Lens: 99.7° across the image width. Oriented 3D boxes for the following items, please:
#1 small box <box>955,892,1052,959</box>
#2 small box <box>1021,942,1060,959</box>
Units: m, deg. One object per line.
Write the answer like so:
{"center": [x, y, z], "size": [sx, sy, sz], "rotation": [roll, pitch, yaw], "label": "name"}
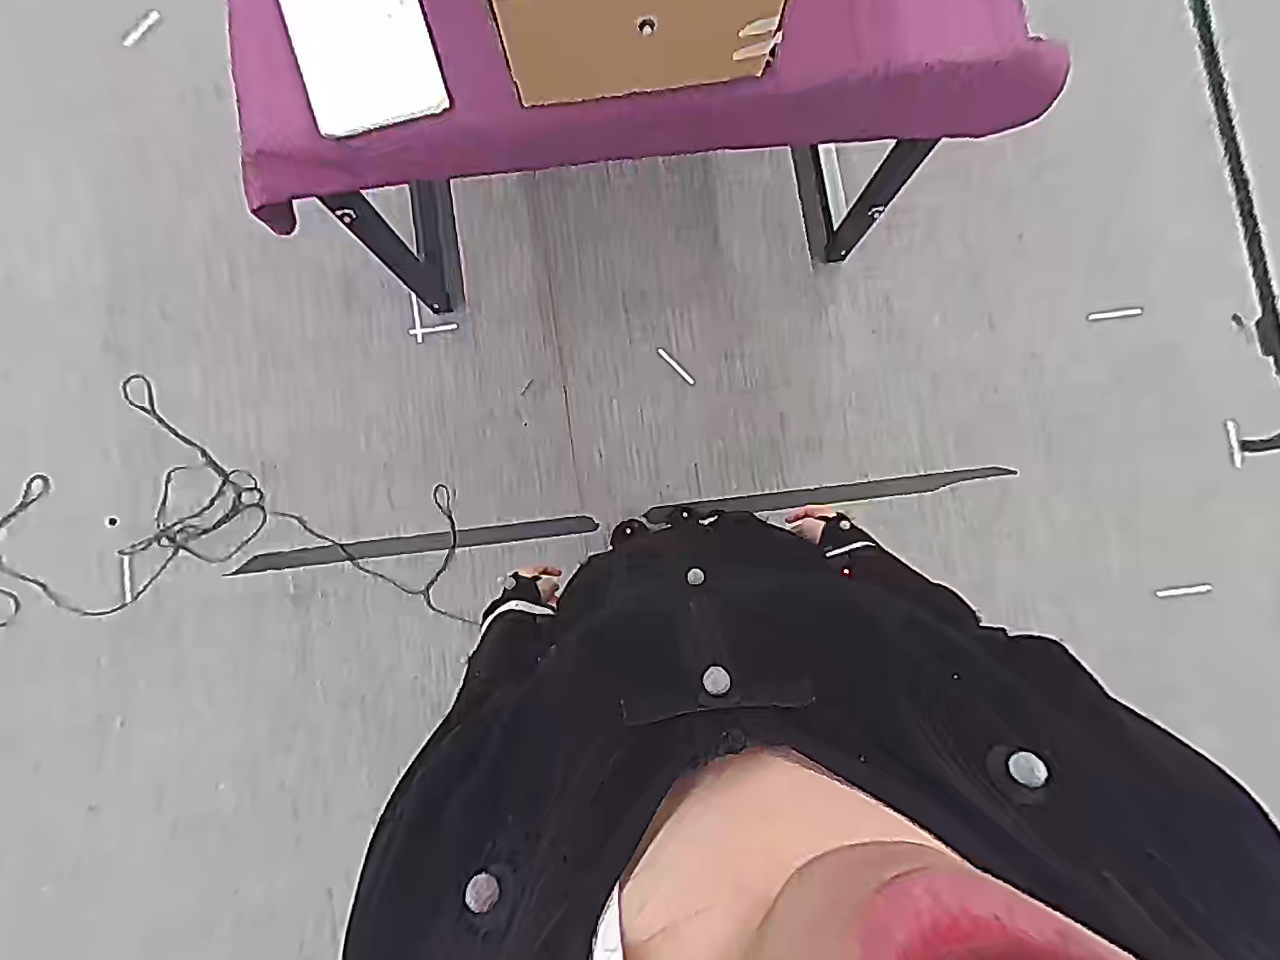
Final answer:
{"center": [0.941, 1.214, 1.367], "size": [0.168, 0.176, 0.179], "rotation": [44, 90, 1], "label": "small box"}
{"center": [0.944, 1.205, 1.205], "size": [0.179, 0.176, 0.168], "rotation": [-44, 89, 0], "label": "small box"}
